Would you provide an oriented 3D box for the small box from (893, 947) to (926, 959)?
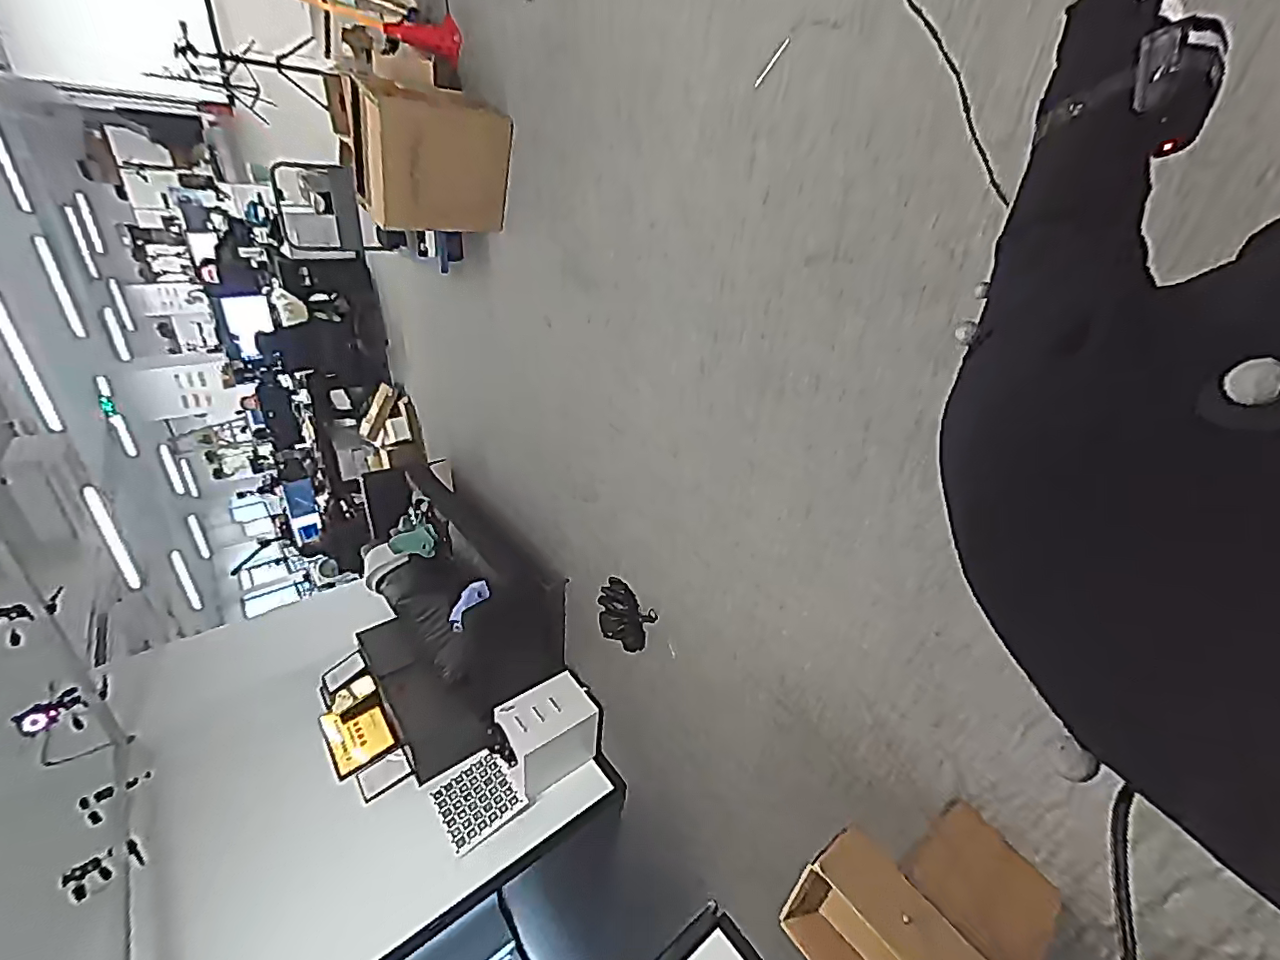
[{"bbox_3d":[0.702,1.365,1.395,0.168,0.176,0.179,41,138,40],"label":"small box"}]
